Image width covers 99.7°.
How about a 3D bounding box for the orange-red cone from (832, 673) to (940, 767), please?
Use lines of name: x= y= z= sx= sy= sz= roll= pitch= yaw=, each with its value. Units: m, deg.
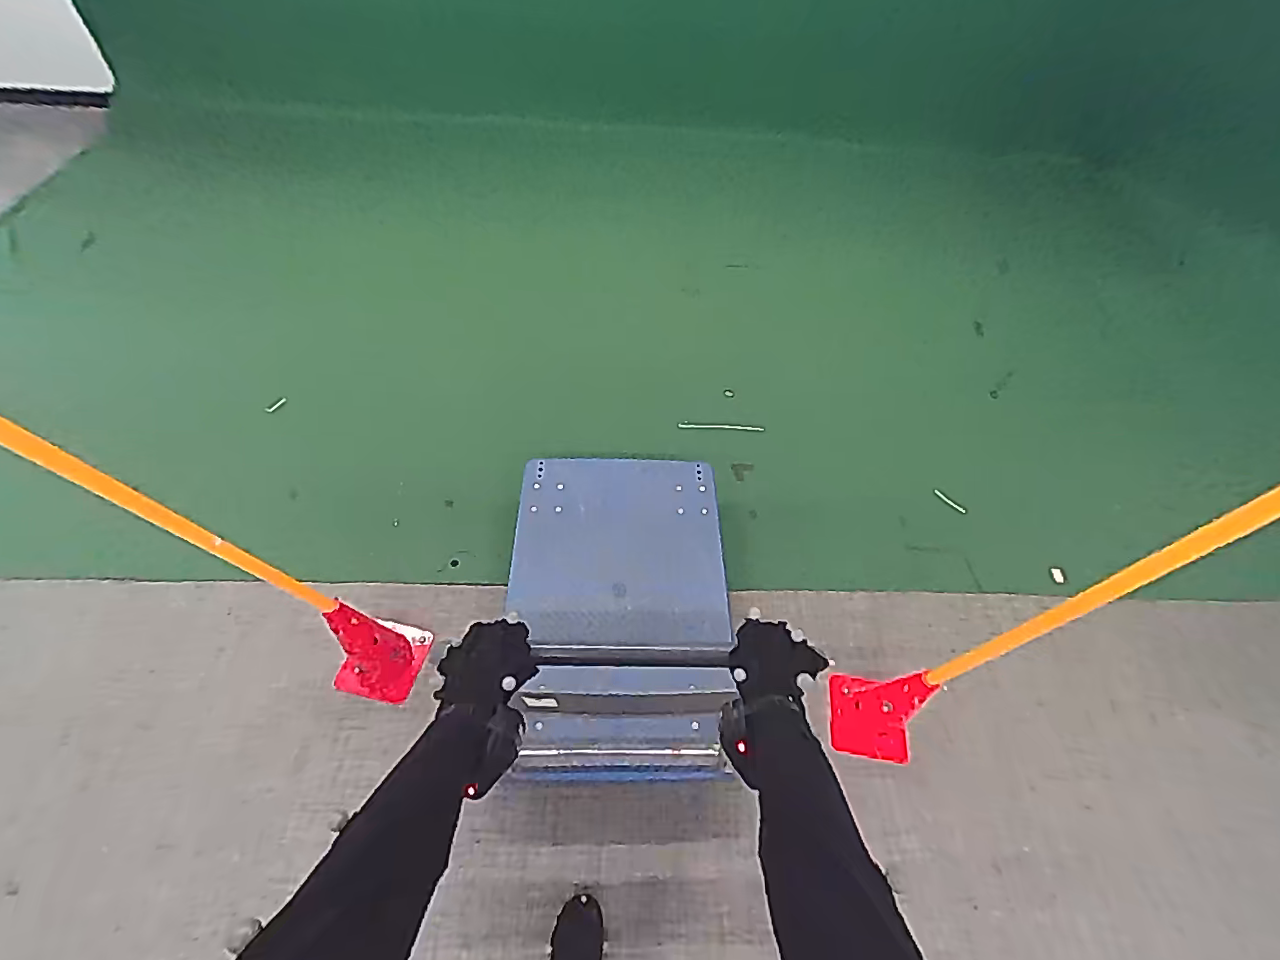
orange-red cone: x=0.607 y=0.527 z=1.274 sx=0.198 sy=0.360 sz=0.199 roll=10 pitch=55 yaw=5
